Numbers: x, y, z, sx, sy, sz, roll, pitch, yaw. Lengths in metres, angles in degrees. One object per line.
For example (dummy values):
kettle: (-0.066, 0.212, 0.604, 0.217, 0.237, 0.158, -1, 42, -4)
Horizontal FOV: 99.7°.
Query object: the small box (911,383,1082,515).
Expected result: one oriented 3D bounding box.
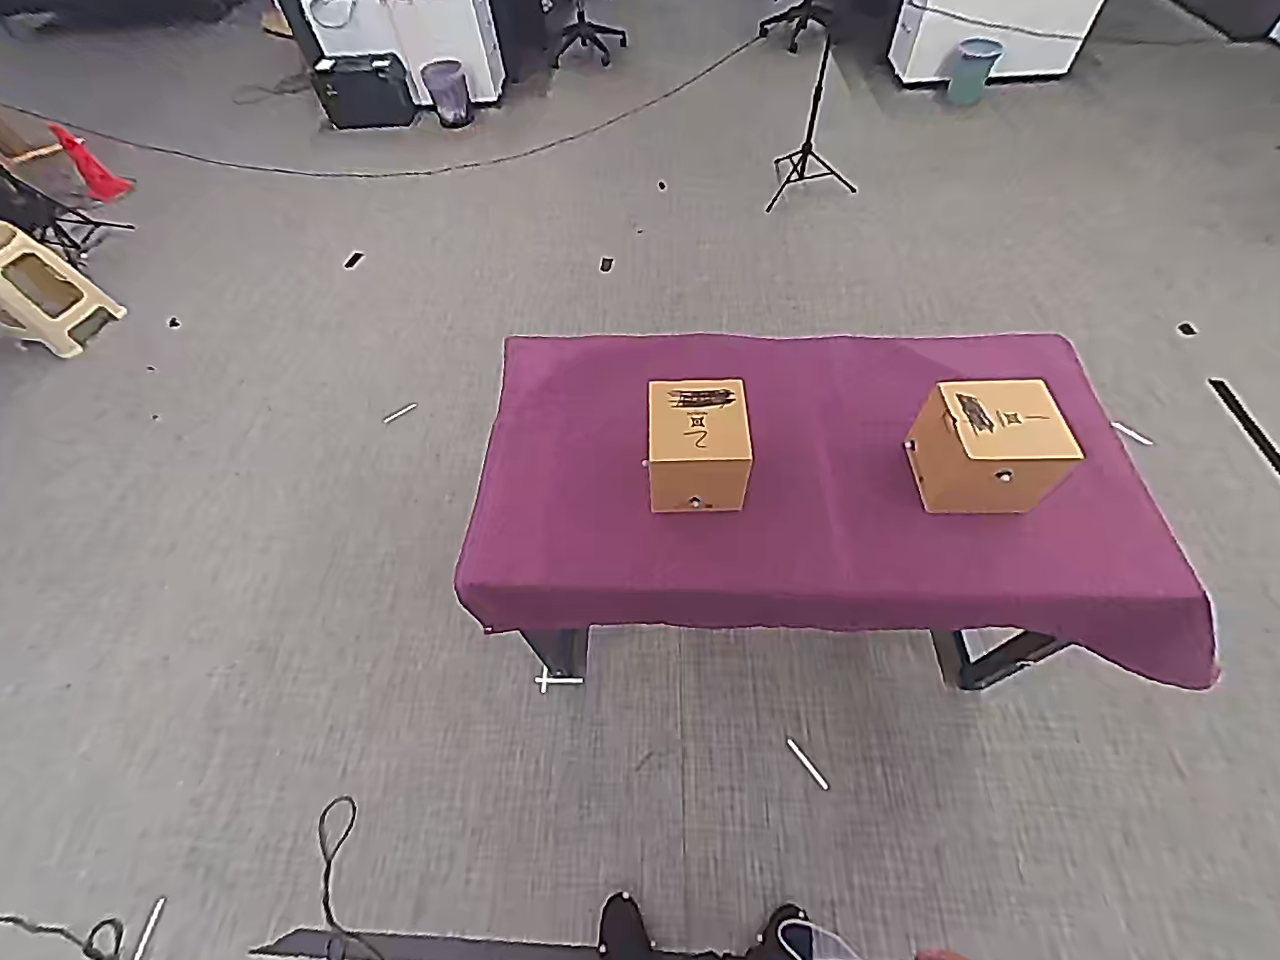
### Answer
small box: (0.593, -0.049, 0.935, 0.179, 0.176, 0.168, 0, 56, 3)
